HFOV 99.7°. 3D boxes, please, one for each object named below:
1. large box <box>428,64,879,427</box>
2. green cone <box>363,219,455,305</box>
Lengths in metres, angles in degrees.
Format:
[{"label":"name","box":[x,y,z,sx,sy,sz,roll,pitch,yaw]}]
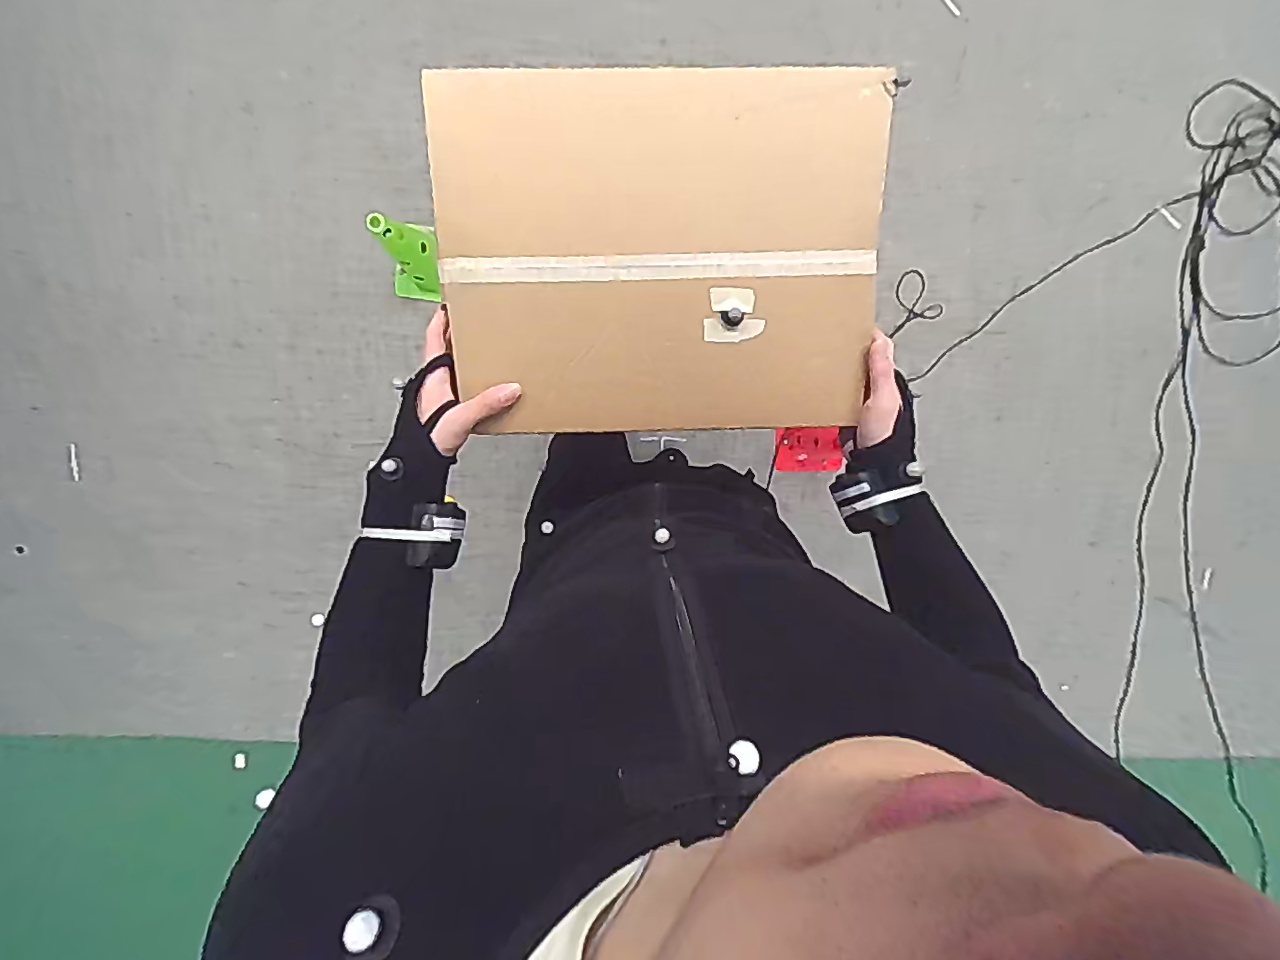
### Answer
[{"label":"large box","box":[0.012,-0.251,0.654,0.408,0.320,0.320,-2,107,-2]},{"label":"green cone","box":[-0.591,-0.581,1.354,0.200,0.368,0.202,8,99,-1]}]
